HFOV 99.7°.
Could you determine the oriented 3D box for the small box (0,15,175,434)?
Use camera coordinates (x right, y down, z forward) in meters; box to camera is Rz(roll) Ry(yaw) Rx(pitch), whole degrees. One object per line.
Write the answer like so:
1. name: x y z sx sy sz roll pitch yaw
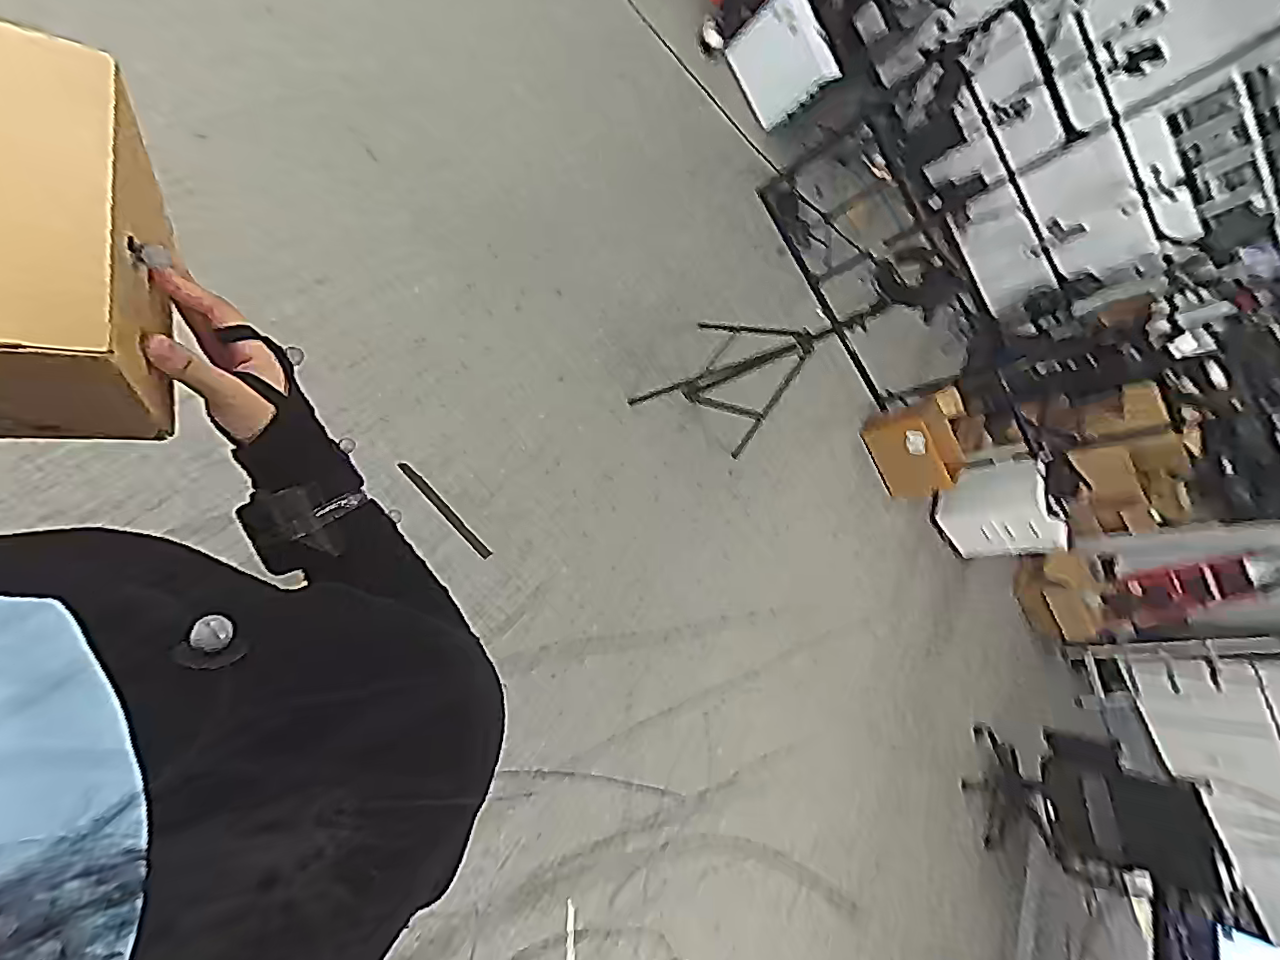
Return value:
1. small box: -0.383 -0.132 0.304 0.168 0.176 0.179 -4 82 -34
